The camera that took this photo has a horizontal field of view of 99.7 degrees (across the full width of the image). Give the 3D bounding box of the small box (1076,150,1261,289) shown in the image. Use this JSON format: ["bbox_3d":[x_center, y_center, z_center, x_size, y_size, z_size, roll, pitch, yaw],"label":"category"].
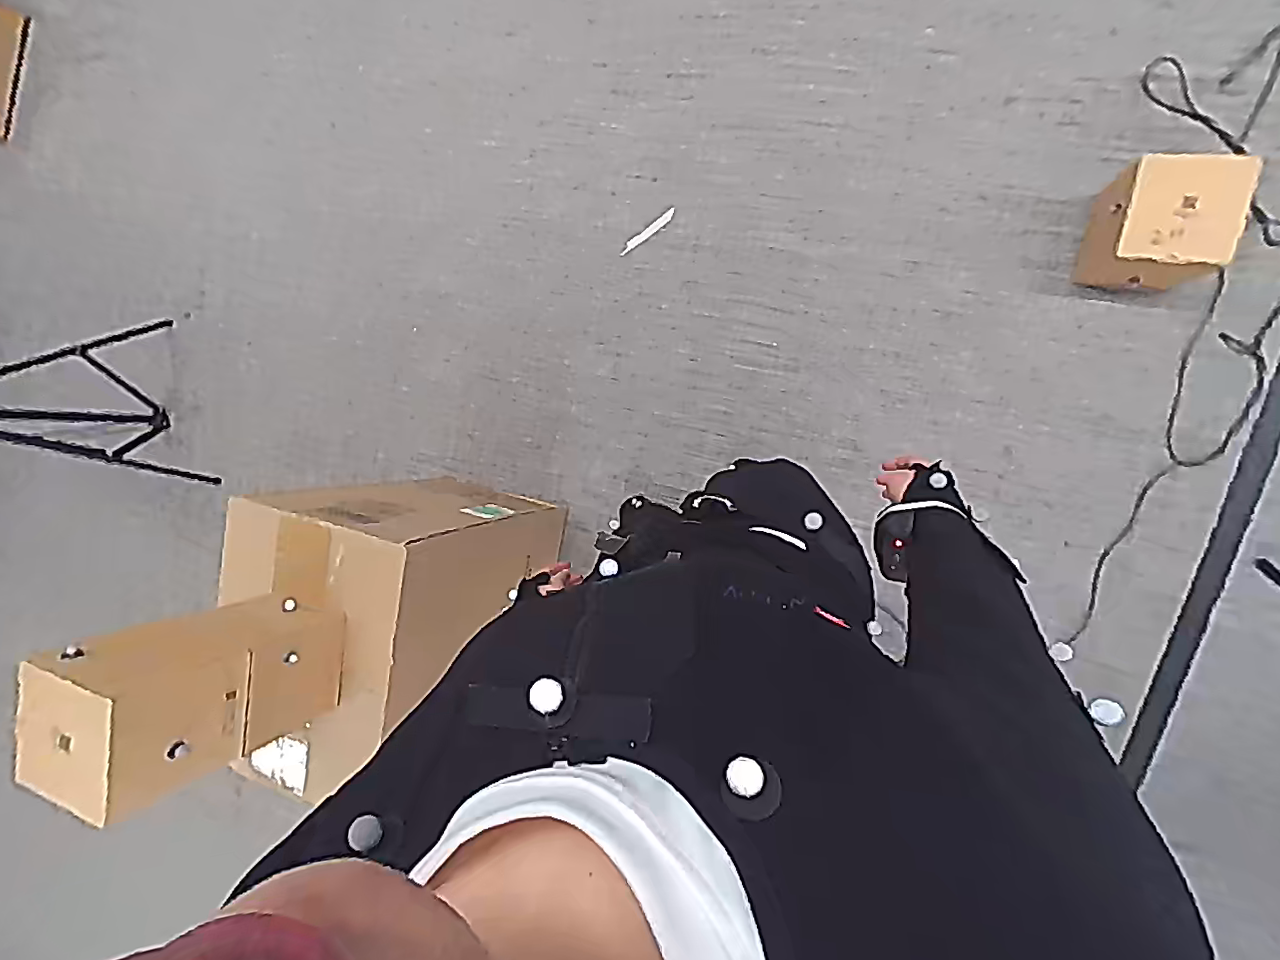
[{"bbox_3d":[0.941,-0.465,0.984,0.168,0.176,0.179,12,97,17],"label":"small box"}]

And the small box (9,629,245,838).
[{"bbox_3d":[-0.664,0.314,0.713,0.179,0.176,0.168,11,96,17],"label":"small box"}]
